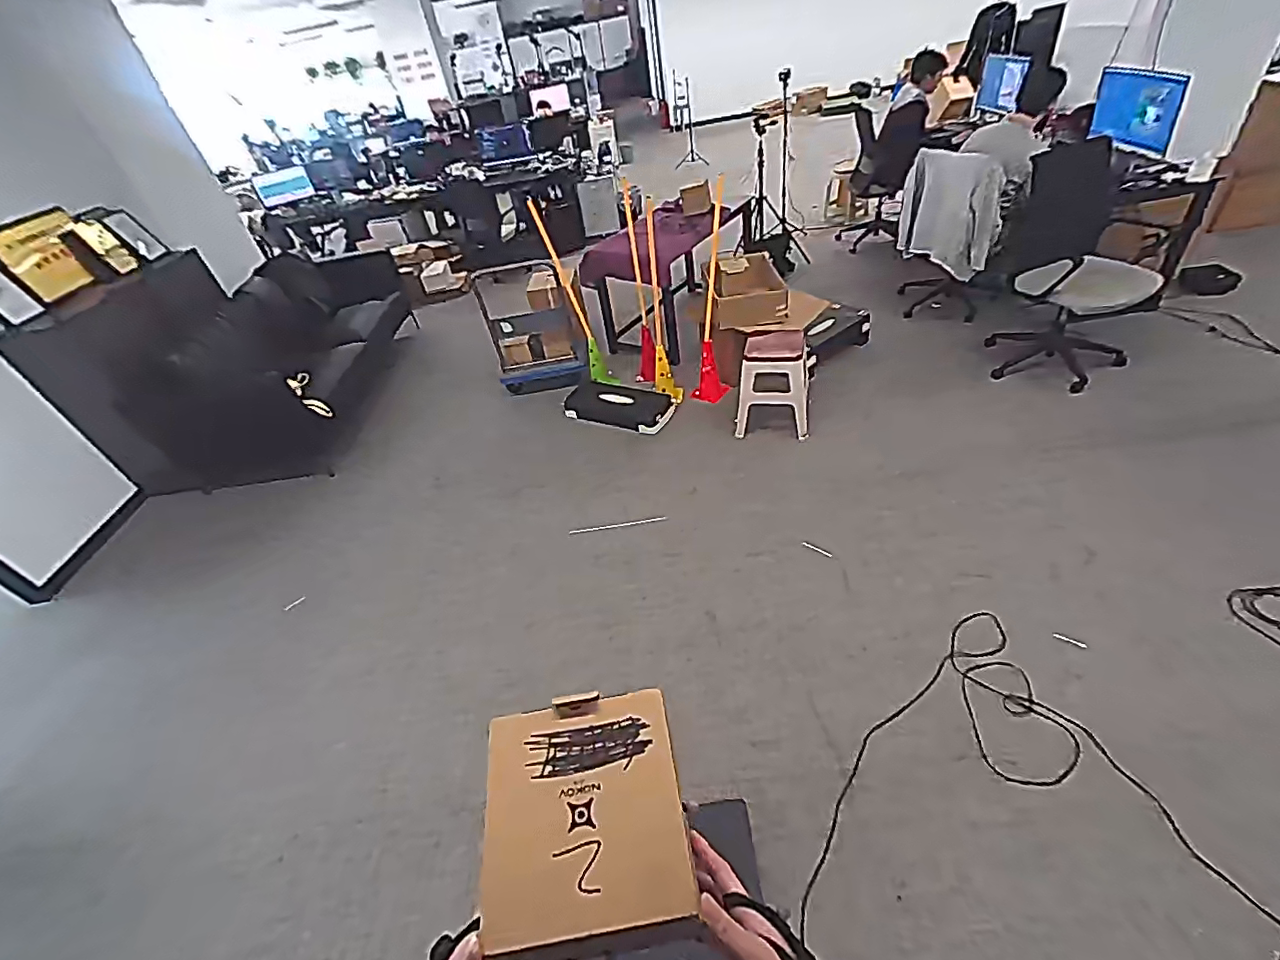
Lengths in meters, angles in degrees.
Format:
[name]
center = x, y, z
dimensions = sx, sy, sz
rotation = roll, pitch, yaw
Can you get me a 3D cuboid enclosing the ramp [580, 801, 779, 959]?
[ramp]
center = 0.092, 1.245, 1.196
dimensions = 0.509, 0.206, 0.991
rotation = -11, 39, 3
